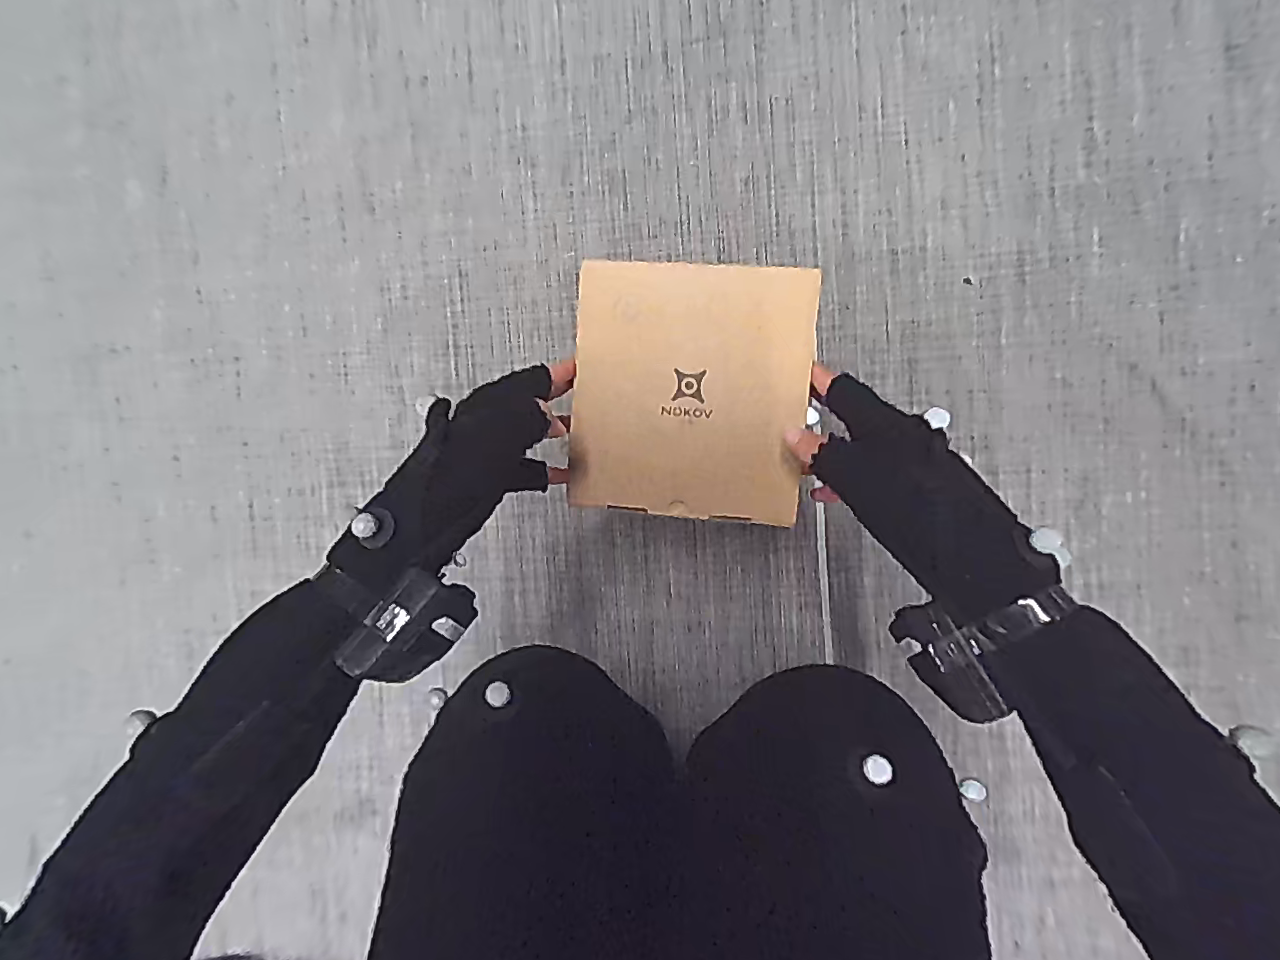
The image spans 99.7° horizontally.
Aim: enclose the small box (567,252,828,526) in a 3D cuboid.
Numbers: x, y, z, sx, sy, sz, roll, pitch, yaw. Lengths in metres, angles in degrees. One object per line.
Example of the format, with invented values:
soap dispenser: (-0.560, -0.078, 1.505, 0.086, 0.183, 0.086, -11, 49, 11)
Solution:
small box: (0.044, -0.069, 0.446, 0.168, 0.176, 0.179, 5, 96, 6)
